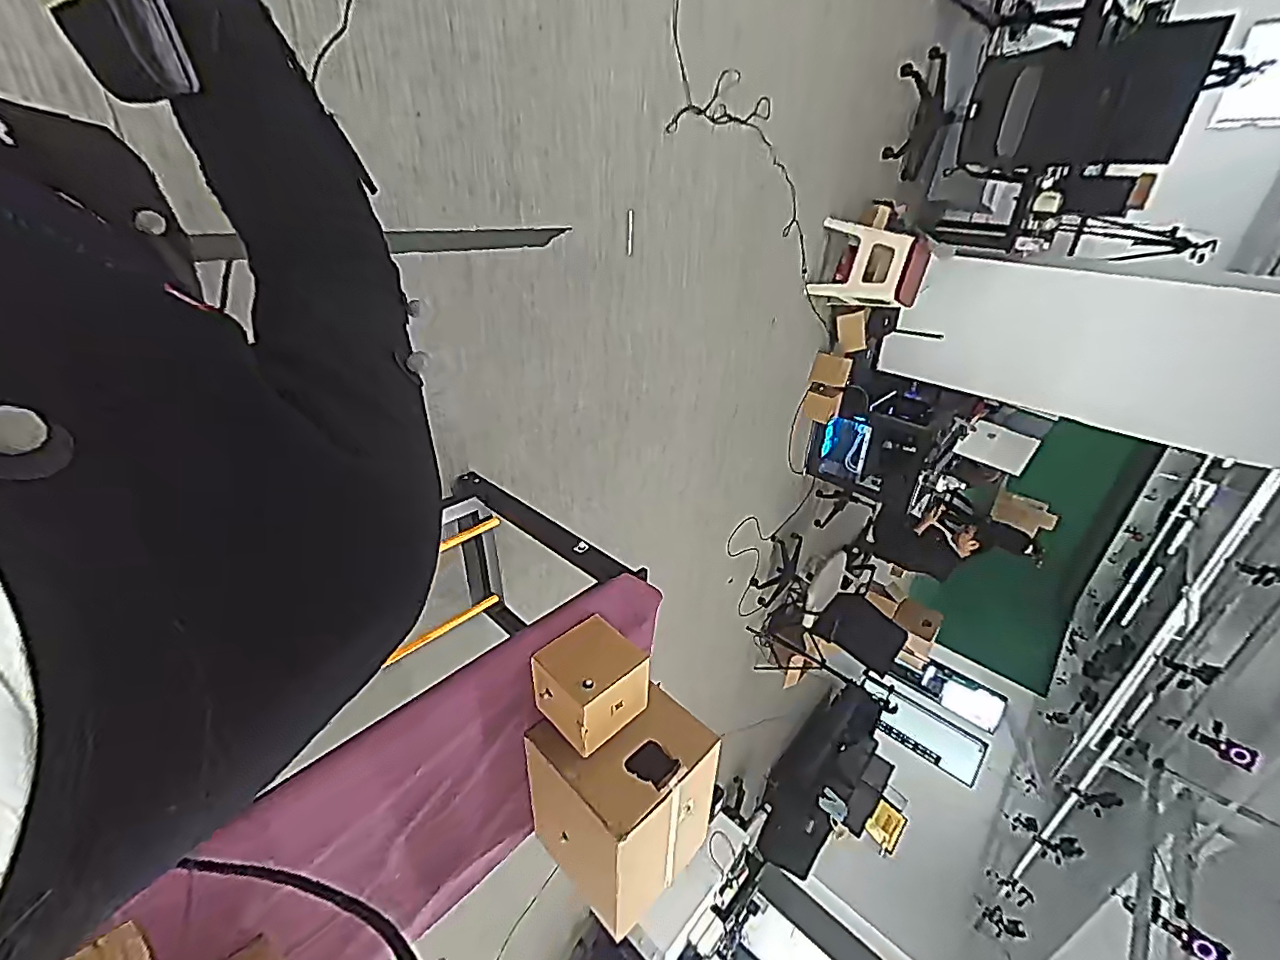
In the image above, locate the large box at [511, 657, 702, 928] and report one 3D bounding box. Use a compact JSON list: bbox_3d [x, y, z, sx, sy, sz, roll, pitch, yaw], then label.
[{"bbox_3d":[-0.078,0.716,1.278,0.320,0.320,0.408,-26,129,-40],"label":"large box"}]
